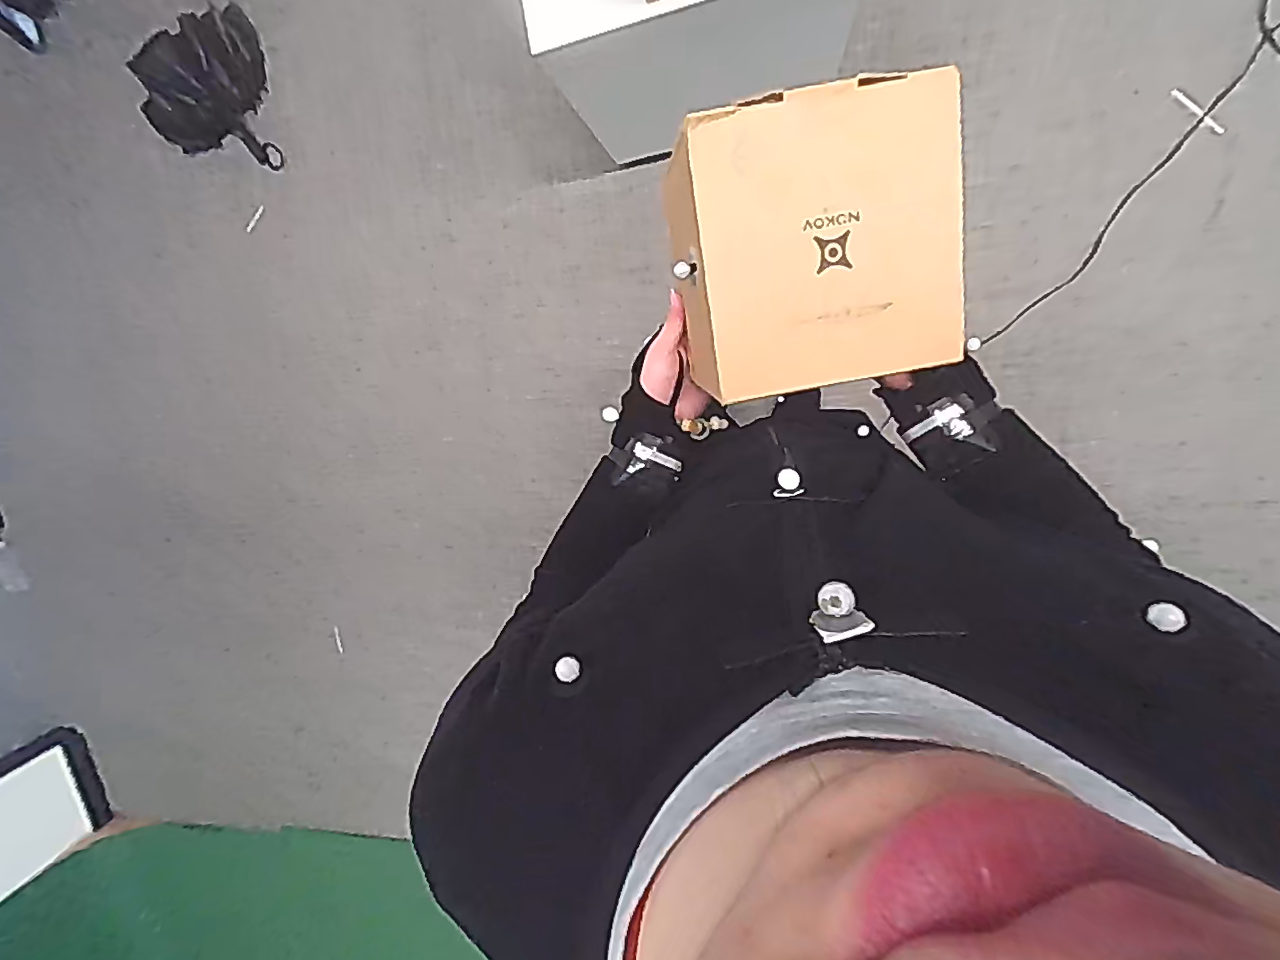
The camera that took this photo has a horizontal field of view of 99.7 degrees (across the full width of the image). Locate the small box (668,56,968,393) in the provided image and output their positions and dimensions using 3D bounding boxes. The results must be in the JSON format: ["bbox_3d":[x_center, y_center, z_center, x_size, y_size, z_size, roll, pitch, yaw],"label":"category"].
[{"bbox_3d":[0.119,-0.174,0.415,0.168,0.176,0.179,-10,107,1],"label":"small box"}]
